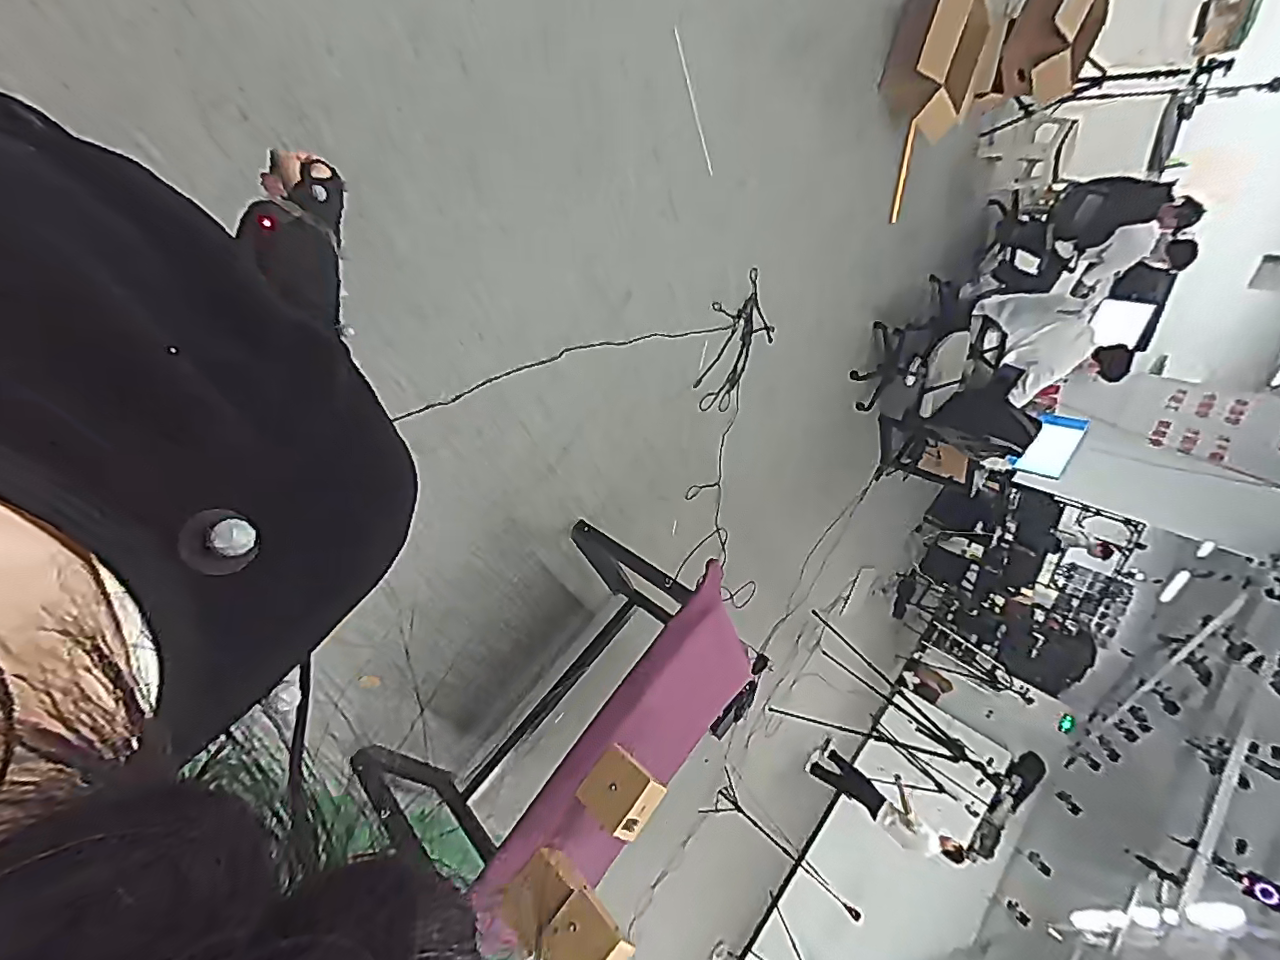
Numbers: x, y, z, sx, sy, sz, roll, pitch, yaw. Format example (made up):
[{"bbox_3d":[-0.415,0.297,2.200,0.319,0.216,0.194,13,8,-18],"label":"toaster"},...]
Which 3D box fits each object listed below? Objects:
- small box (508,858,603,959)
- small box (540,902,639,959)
[{"bbox_3d":[-0.241,1.199,1.496,0.179,0.176,0.168,-48,140,-18],"label":"small box"},{"bbox_3d":[-0.124,1.233,1.385,0.168,0.176,0.179,-43,136,-25],"label":"small box"}]
